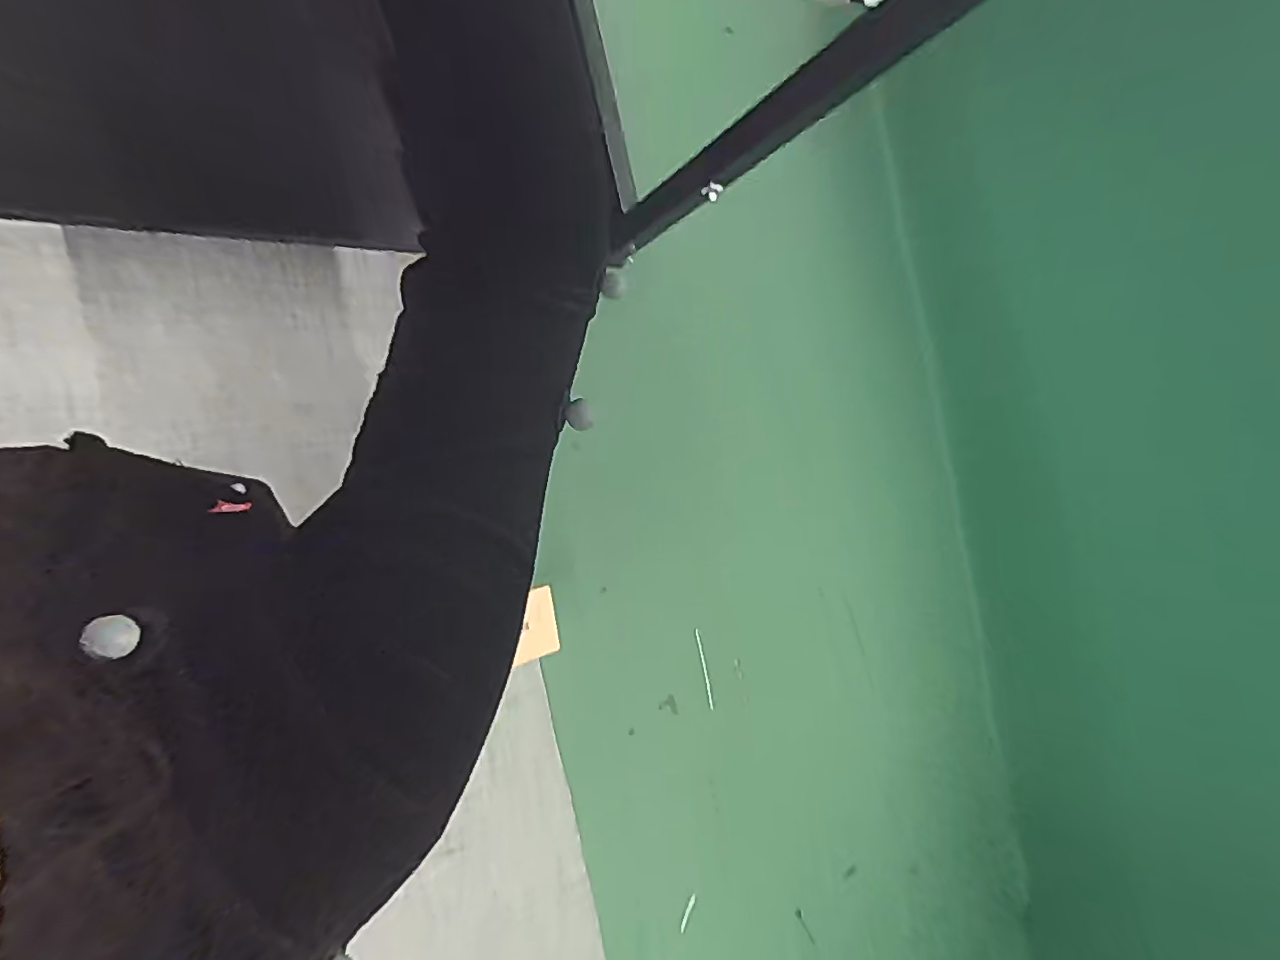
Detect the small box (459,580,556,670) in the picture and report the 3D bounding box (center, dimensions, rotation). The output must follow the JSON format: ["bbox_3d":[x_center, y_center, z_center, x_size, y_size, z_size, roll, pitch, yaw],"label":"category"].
[{"bbox_3d":[-0.338,0.354,1.354,0.179,0.176,0.168,-10,92,-40],"label":"small box"}]
